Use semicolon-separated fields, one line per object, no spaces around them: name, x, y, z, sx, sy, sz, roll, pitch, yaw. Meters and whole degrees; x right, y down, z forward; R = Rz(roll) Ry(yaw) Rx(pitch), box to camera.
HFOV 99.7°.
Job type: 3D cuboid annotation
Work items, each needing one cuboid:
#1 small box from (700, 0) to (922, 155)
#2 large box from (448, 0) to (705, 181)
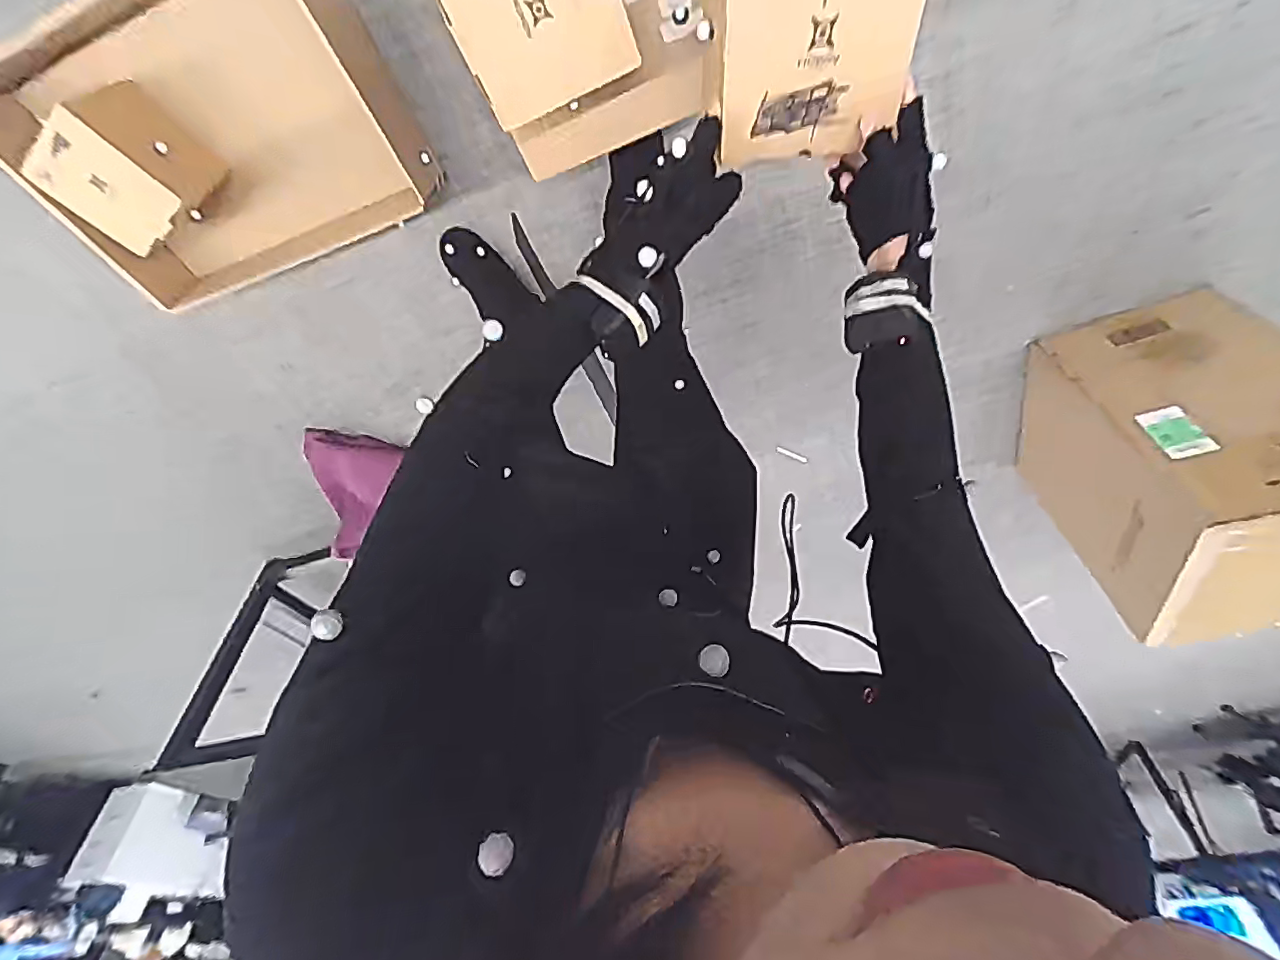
small box;0.150;-0.437;0.515;0.168;0.176;0.179;-4;136;1
large box;-0.035;-0.712;0.777;0.408;0.320;0.320;-17;135;13
